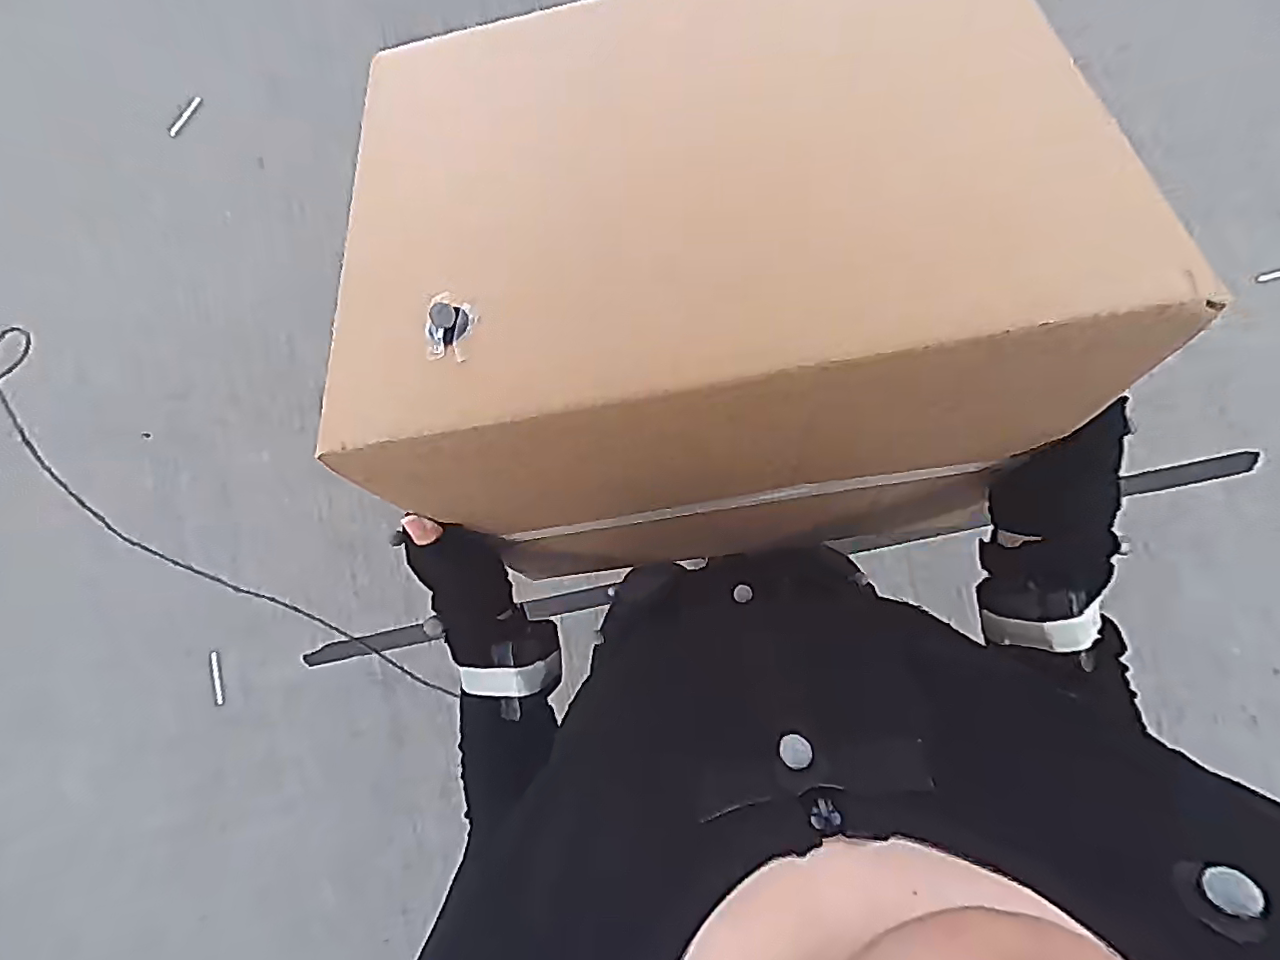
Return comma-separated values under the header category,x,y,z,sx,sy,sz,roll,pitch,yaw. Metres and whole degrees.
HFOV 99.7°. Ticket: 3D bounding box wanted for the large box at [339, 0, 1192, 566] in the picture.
category,x,y,z,sx,sy,sz,roll,pitch,yaw
large box,0.048,-0.137,0.443,0.408,0.320,0.320,-9,68,6
